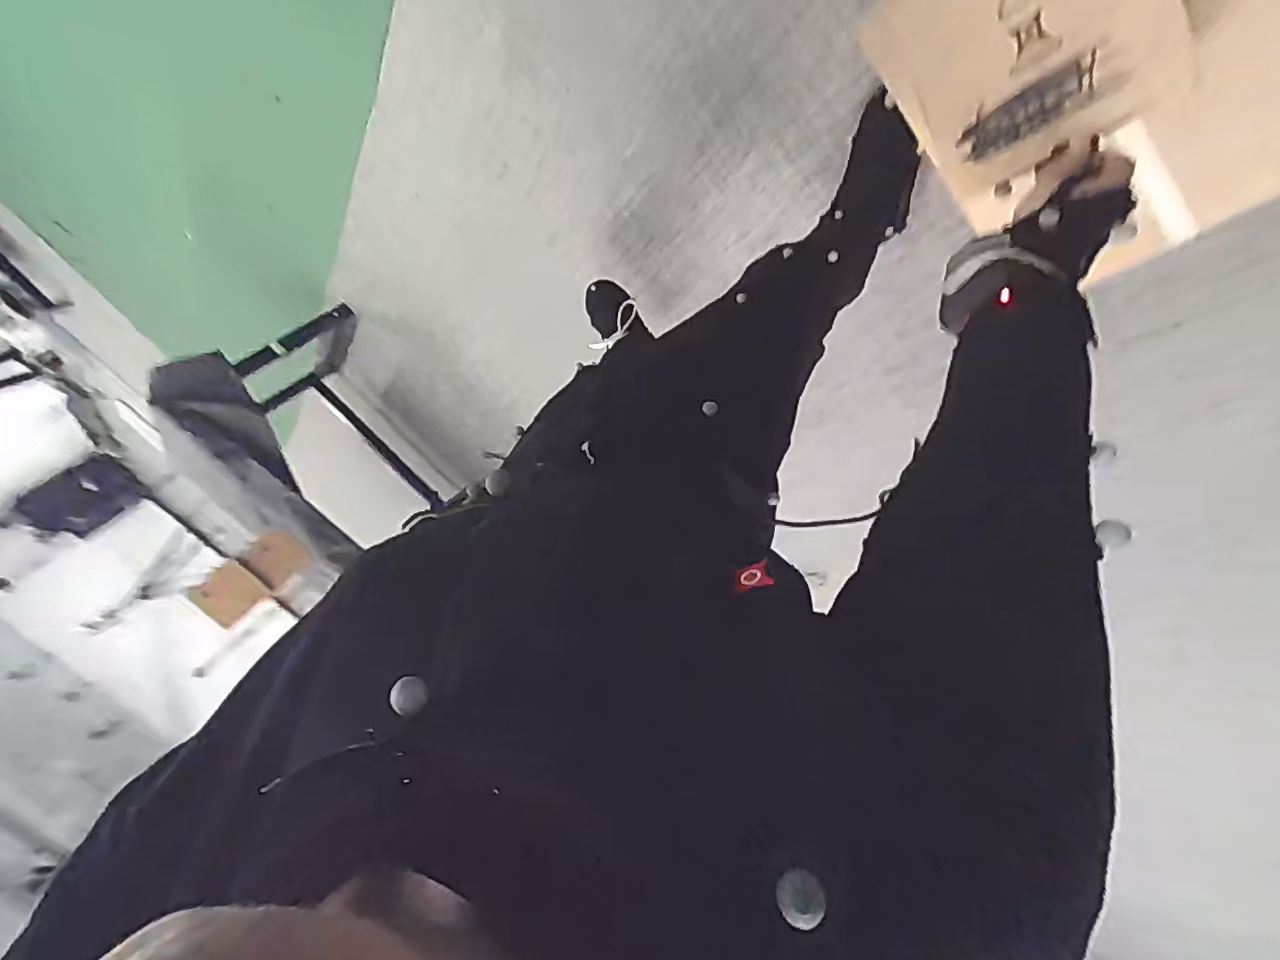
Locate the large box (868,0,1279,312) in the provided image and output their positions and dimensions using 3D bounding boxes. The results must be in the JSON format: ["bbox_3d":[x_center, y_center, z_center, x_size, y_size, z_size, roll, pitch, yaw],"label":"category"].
[{"bbox_3d":[0.545,-0.497,0.636,0.408,0.320,0.320,47,143,-14],"label":"large box"}]

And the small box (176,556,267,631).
[{"bbox_3d":[-1.379,0.372,1.787,0.168,0.176,0.179,-11,121,47],"label":"small box"}]

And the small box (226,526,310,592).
[{"bbox_3d":[-1.308,0.274,1.898,0.168,0.176,0.179,-13,121,48],"label":"small box"}]
